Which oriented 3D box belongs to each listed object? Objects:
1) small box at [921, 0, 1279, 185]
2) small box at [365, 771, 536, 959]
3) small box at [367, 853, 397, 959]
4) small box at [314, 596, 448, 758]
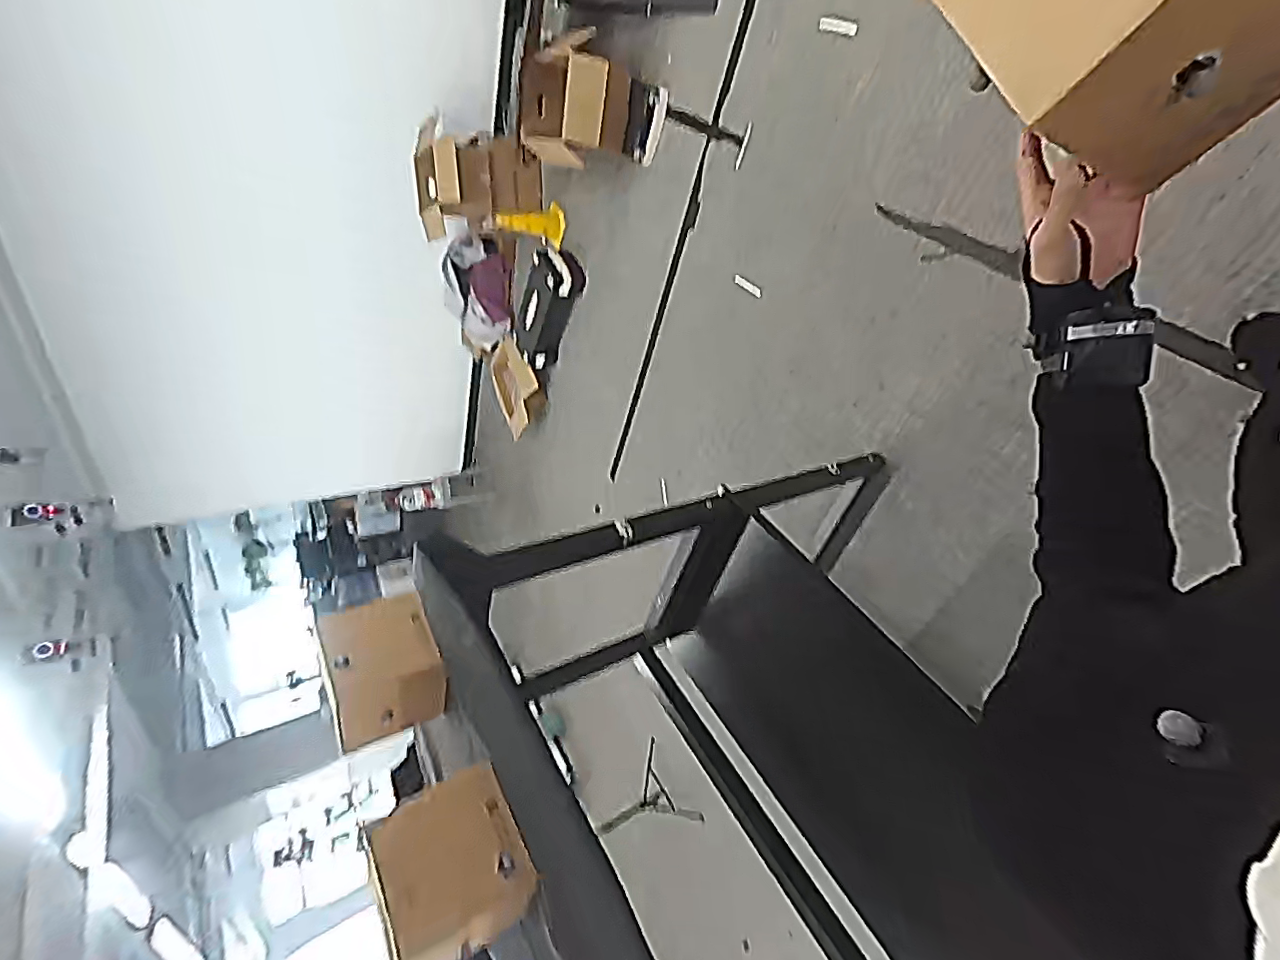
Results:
[{"bbox_3d":[0.327,-0.321,0.344,0.168,0.176,0.179,-45,50,52],"label":"small box"},{"bbox_3d":[-0.255,0.536,0.733,0.168,0.176,0.179,49,138,34],"label":"small box"},{"bbox_3d":[-0.372,0.719,0.959,0.168,0.176,0.179,54,139,31],"label":"small box"},{"bbox_3d":[-0.441,0.332,0.932,0.168,0.176,0.179,48,136,34],"label":"small box"}]
